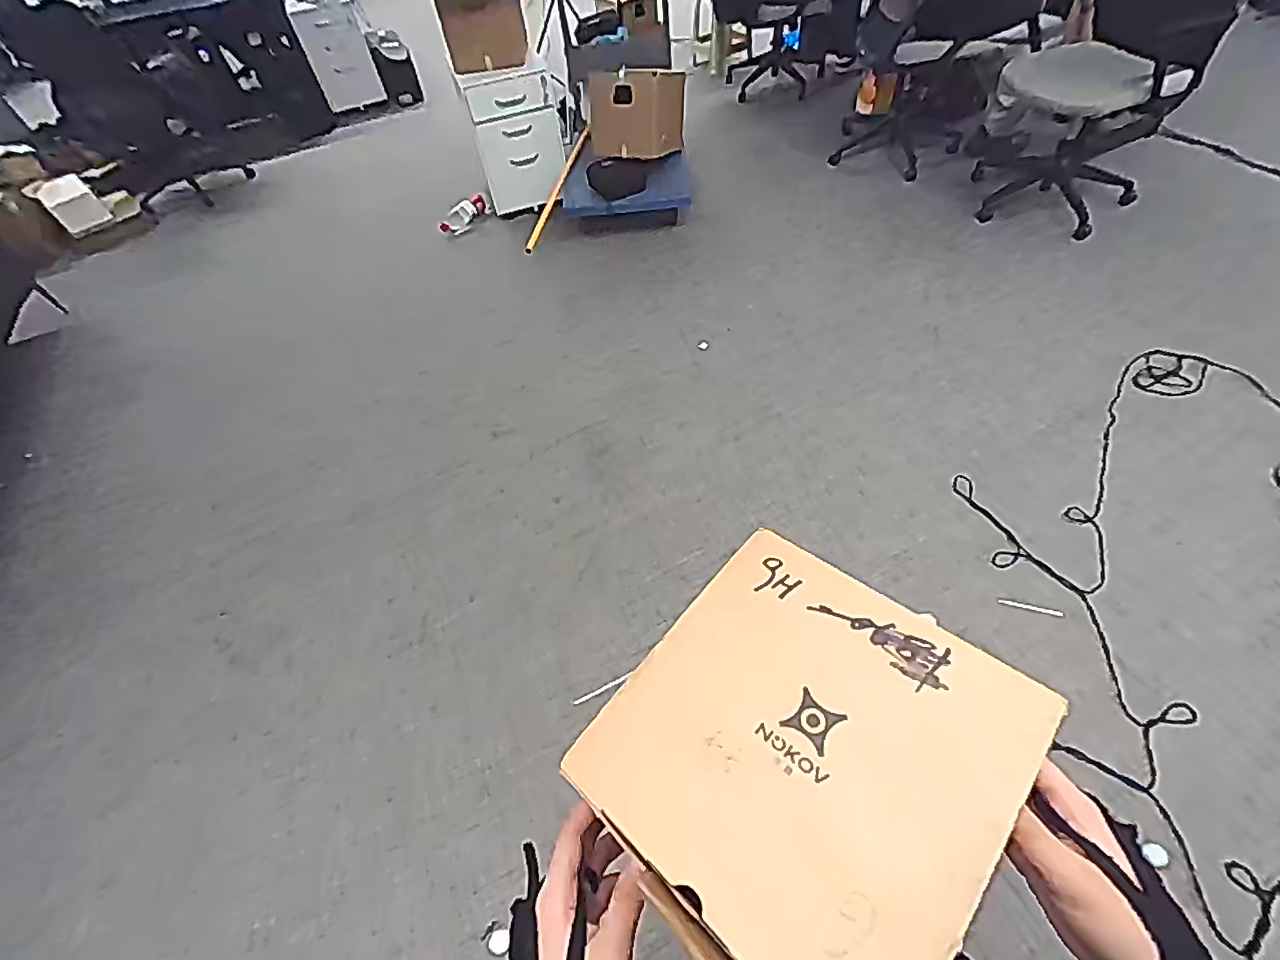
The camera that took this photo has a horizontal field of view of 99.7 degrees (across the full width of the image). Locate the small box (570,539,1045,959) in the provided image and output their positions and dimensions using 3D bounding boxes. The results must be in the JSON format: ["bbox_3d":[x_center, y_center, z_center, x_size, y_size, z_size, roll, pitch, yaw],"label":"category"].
[{"bbox_3d":[0.093,0.176,0.325,0.168,0.176,0.179,30,63,32],"label":"small box"}]
